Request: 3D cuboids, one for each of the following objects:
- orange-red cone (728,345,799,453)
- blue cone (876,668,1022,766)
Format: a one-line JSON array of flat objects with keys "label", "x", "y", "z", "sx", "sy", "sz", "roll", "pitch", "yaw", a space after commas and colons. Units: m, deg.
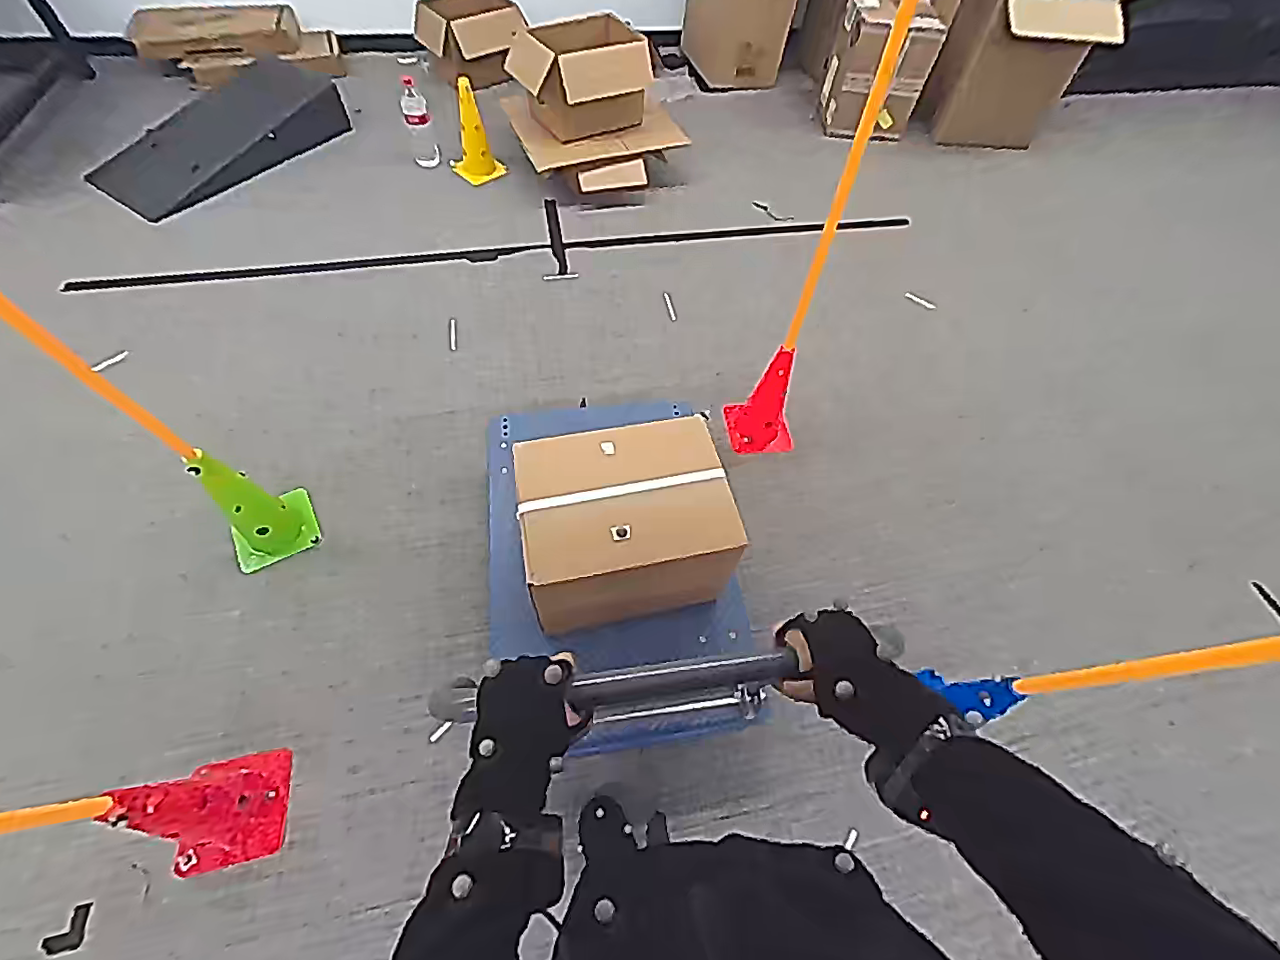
[{"label": "orange-red cone", "x": 0.402, "y": -0.261, "z": 1.604, "sx": 0.199, "sy": 0.360, "sz": 0.198, "roll": -2, "pitch": 59, "yaw": -6}, {"label": "blue cone", "x": 0.699, "y": 0.484, "z": 1.172, "sx": 0.193, "sy": 0.380, "sz": 0.192, "roll": -11, "pitch": 58, "yaw": -11}]
